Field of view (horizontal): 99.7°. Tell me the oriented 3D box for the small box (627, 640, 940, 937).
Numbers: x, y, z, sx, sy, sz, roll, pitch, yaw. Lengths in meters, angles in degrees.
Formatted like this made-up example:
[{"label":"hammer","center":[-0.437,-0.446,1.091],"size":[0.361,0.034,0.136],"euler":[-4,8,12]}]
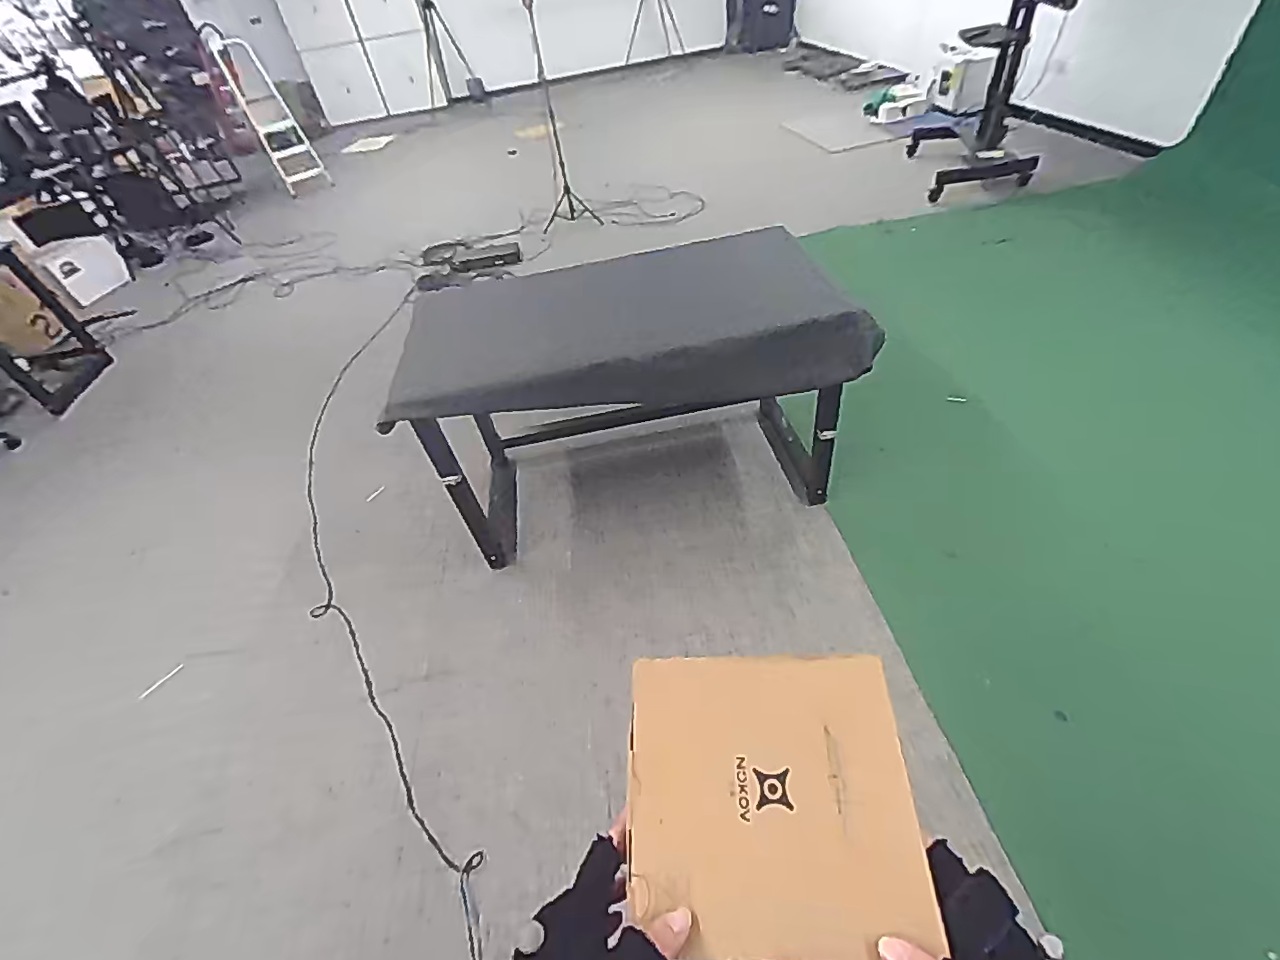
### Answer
[{"label":"small box","center":[0.087,0.231,0.413],"size":[0.179,0.176,0.168],"euler":[-4,57,4]}]
